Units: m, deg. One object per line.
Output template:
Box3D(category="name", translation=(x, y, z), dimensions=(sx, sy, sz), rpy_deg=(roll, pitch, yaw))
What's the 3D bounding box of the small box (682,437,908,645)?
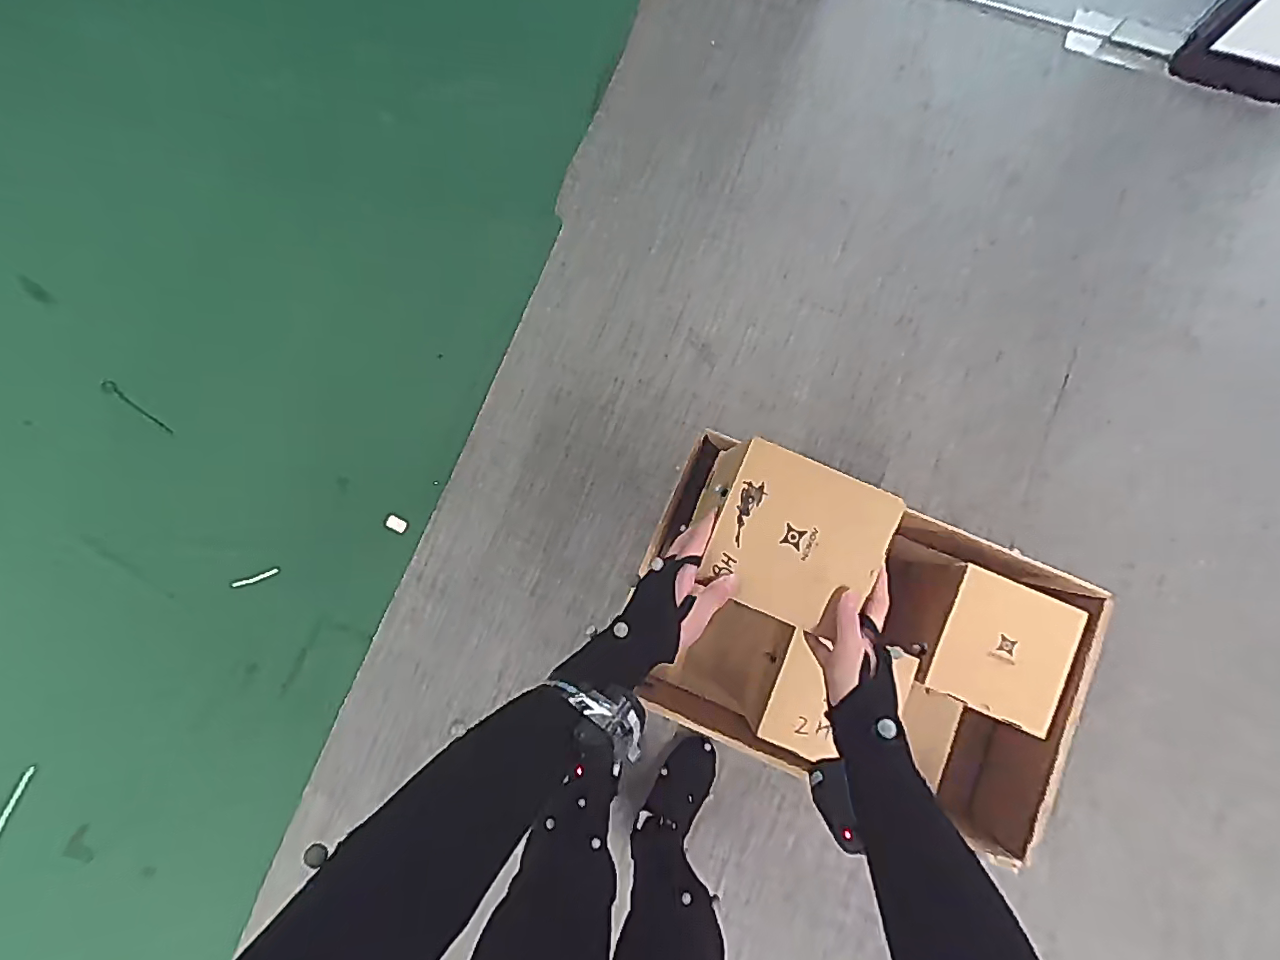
Box3D(category="small box", translation=(0.165, 0.064, 0.632), dimensions=(0.179, 0.176, 0.168), rpy_deg=(24, 87, 0))
